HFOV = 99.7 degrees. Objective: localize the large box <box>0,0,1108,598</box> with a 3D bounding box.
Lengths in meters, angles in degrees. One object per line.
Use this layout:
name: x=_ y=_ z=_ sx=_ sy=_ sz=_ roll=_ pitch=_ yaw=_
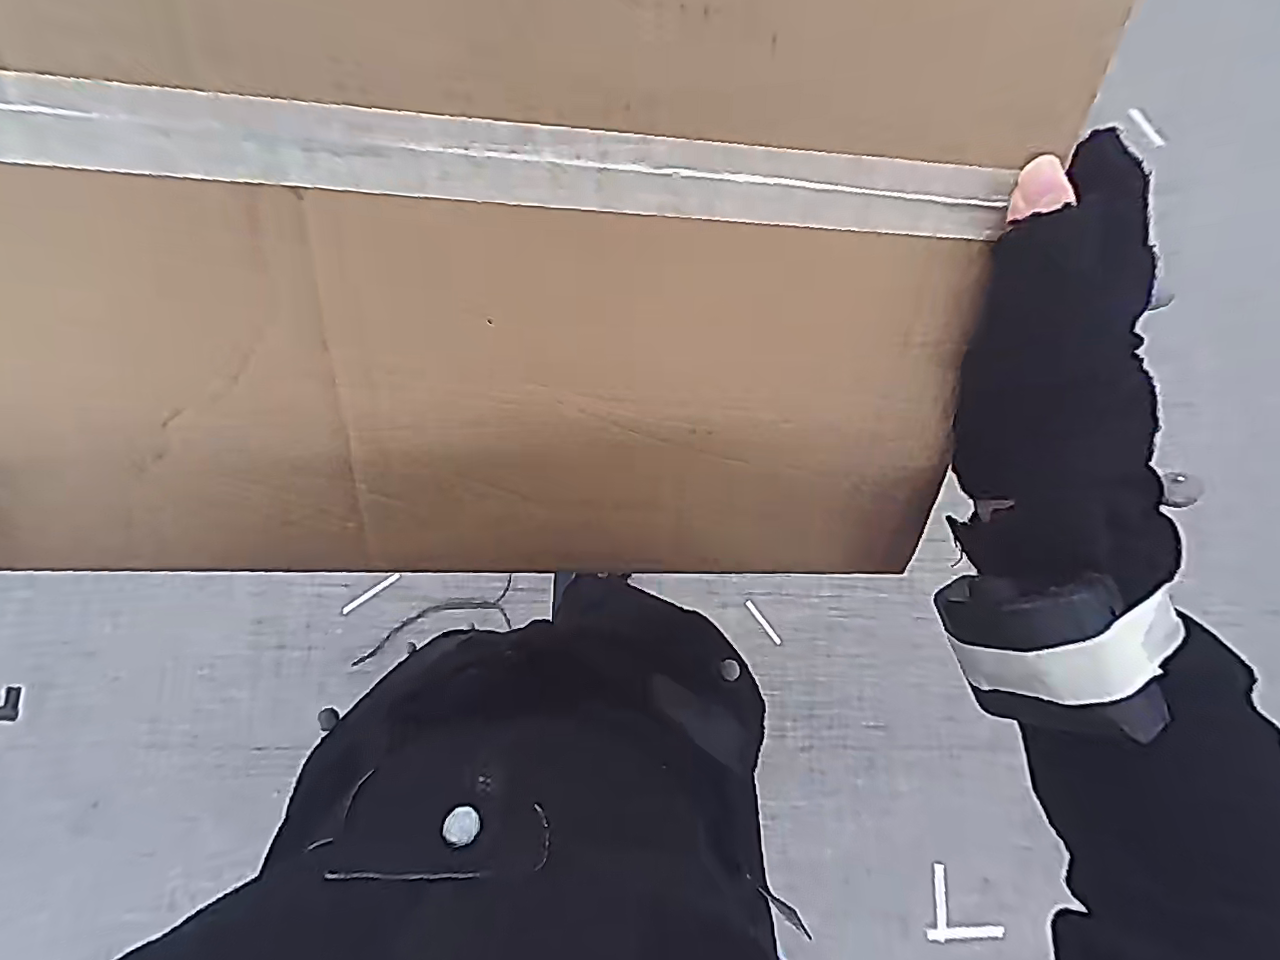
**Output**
large box: x=-0.080 y=-0.156 z=0.297 sx=0.408 sy=0.320 sz=0.320 roll=1 pitch=120 yaw=-7
